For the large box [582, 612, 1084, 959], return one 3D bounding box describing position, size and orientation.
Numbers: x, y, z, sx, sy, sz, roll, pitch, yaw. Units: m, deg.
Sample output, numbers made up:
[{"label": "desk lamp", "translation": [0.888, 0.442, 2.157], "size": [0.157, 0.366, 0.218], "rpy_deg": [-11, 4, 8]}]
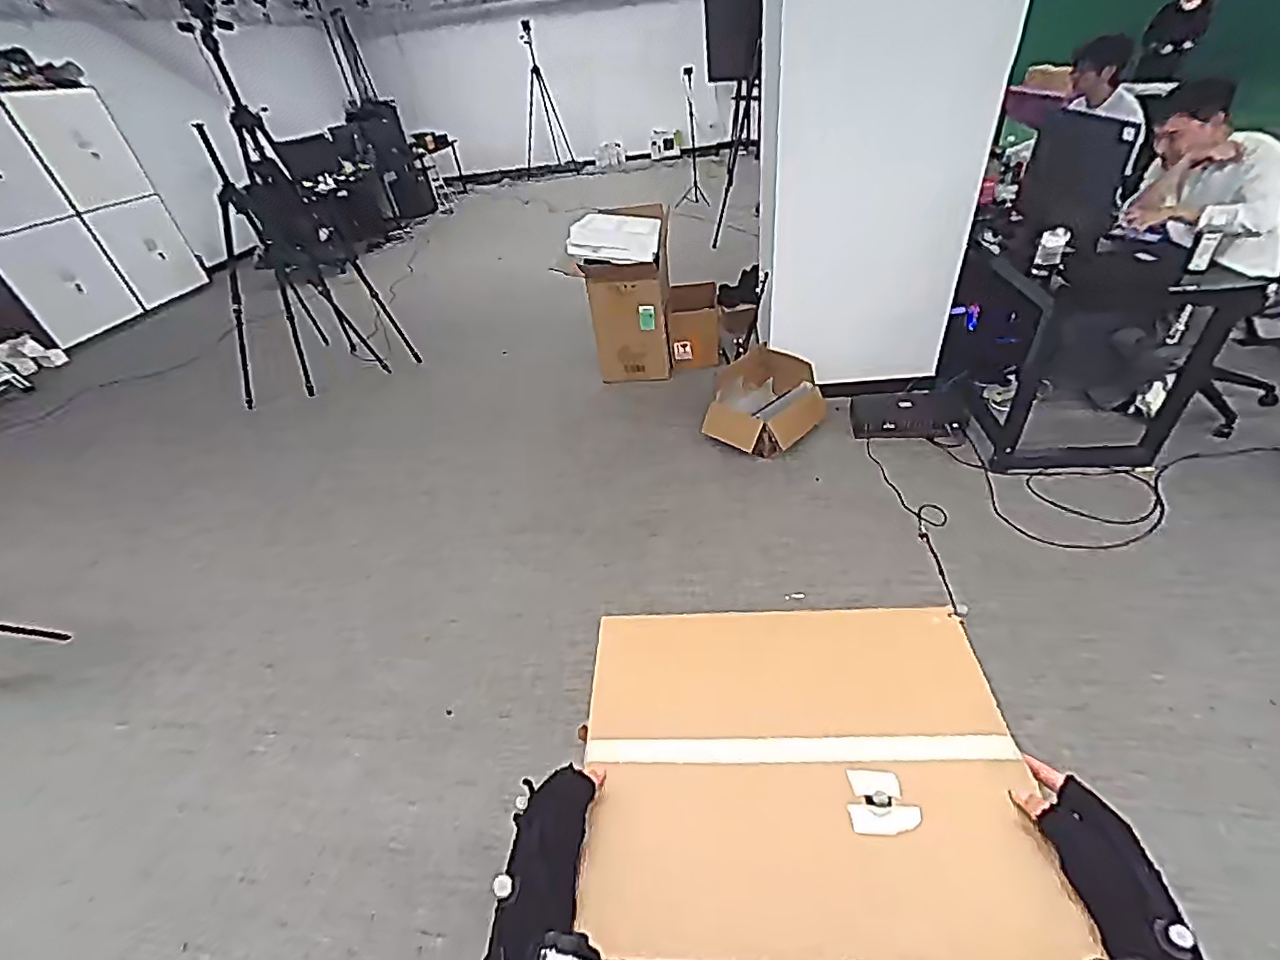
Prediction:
[{"label": "large box", "translation": [0.165, 0.379, 0.639], "size": [0.408, 0.320, 0.320], "rpy_deg": [-3, 43, 6]}]
